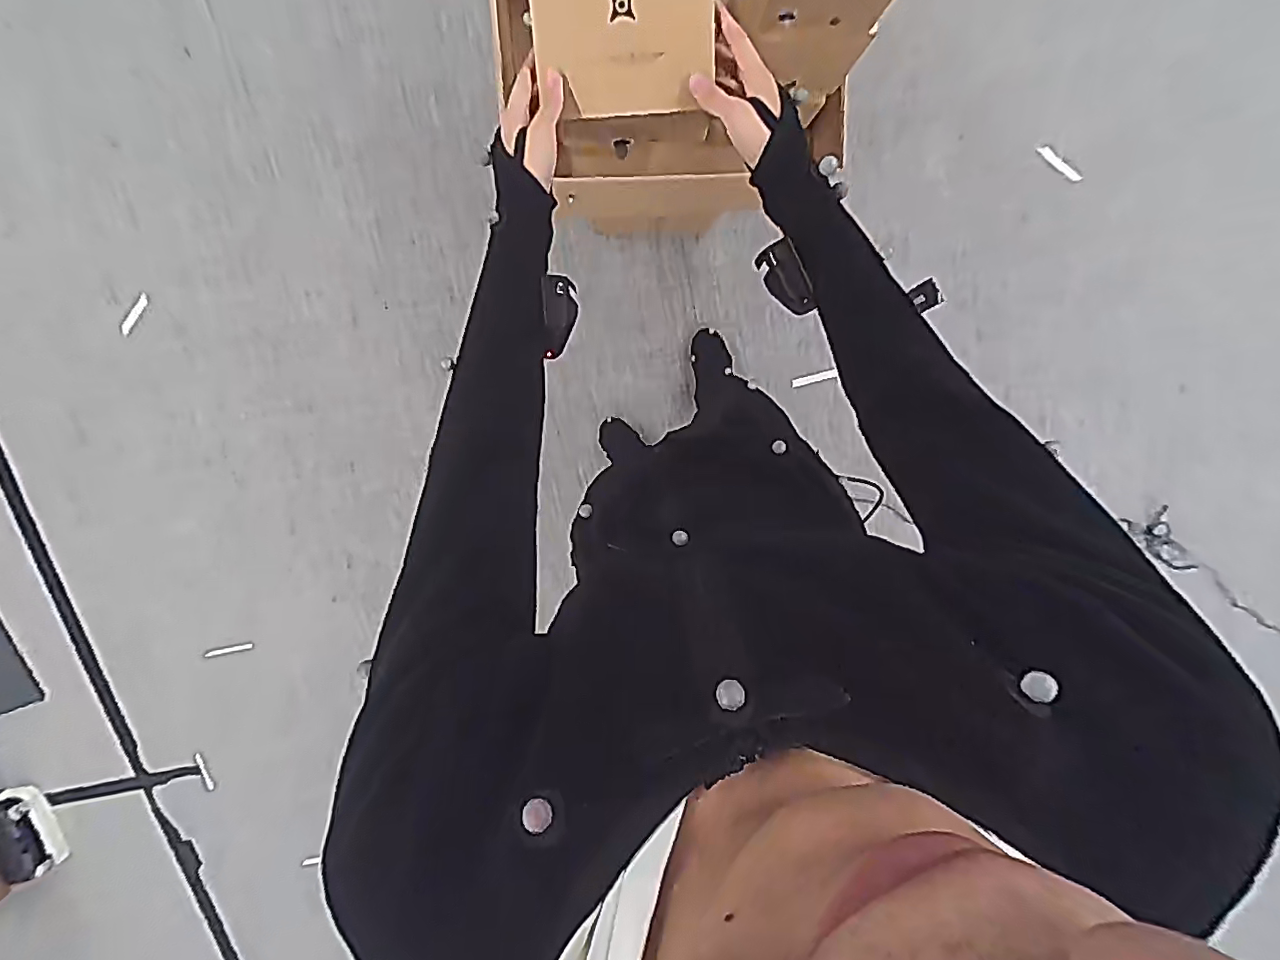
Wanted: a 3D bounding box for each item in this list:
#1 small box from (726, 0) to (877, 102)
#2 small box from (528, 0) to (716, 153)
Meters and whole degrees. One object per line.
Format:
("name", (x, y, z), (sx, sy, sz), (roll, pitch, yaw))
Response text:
("small box", (0.240, -0.714, 0.830), (0.179, 0.176, 0.168), (-6, 100, -2))
("small box", (-0.013, -0.445, 0.538), (0.168, 0.176, 0.179), (-2, 113, 4))
